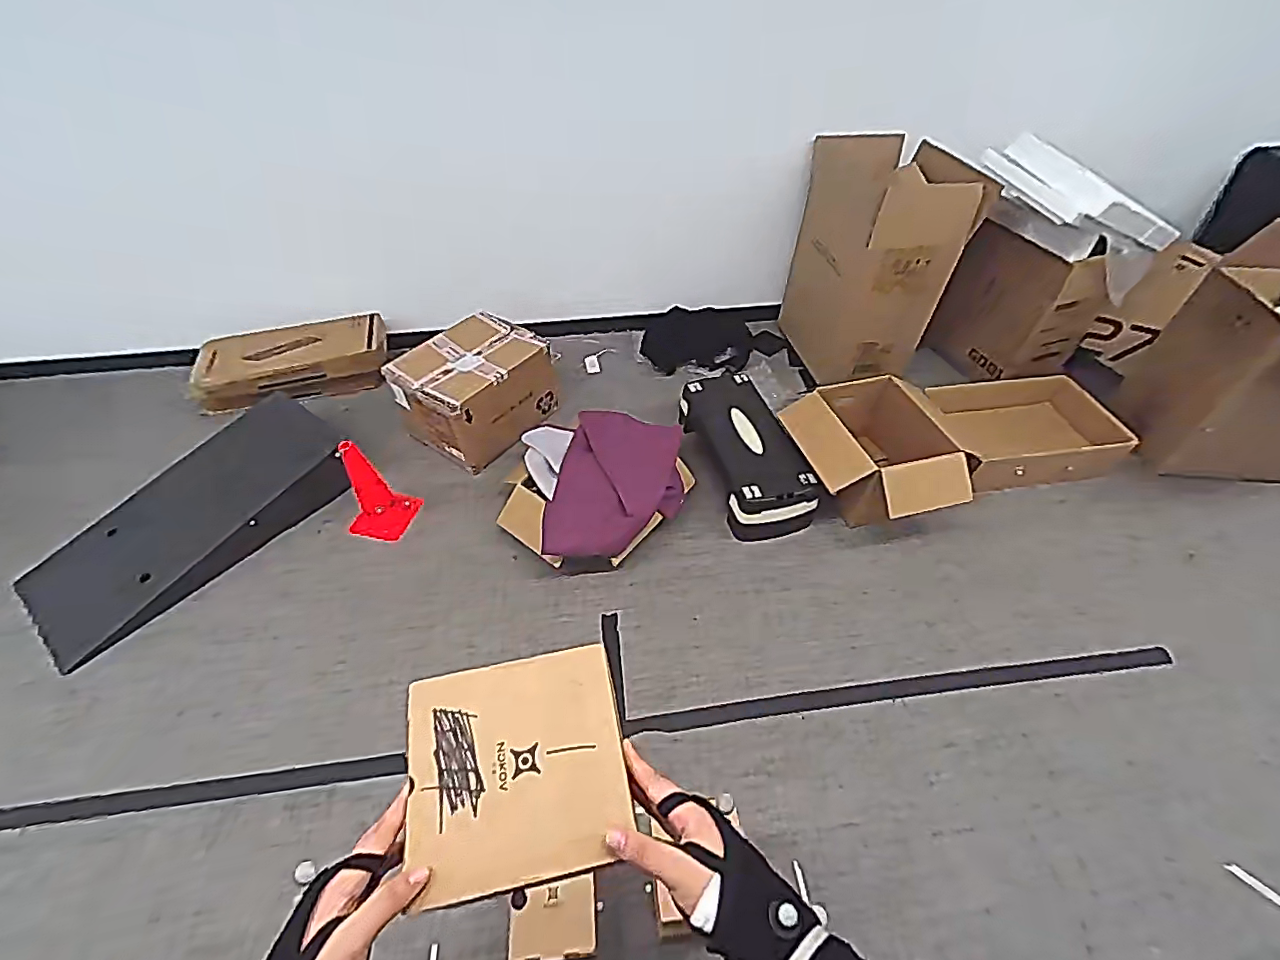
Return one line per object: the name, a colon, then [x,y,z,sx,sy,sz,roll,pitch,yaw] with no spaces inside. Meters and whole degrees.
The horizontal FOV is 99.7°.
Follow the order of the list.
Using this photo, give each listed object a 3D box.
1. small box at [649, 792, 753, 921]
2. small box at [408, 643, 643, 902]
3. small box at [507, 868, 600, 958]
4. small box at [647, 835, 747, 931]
small box: [0.107,0.727,1.043,0.168,0.176,0.179,-5,49,-4]
small box: [-0.097,0.276,0.510,0.179,0.176,0.168,-10,55,-7]
small box: [-0.173,0.874,1.129,0.168,0.176,0.179,-4,48,-2]
small box: [0.113,0.845,1.156,0.179,0.176,0.168,-6,48,-5]
